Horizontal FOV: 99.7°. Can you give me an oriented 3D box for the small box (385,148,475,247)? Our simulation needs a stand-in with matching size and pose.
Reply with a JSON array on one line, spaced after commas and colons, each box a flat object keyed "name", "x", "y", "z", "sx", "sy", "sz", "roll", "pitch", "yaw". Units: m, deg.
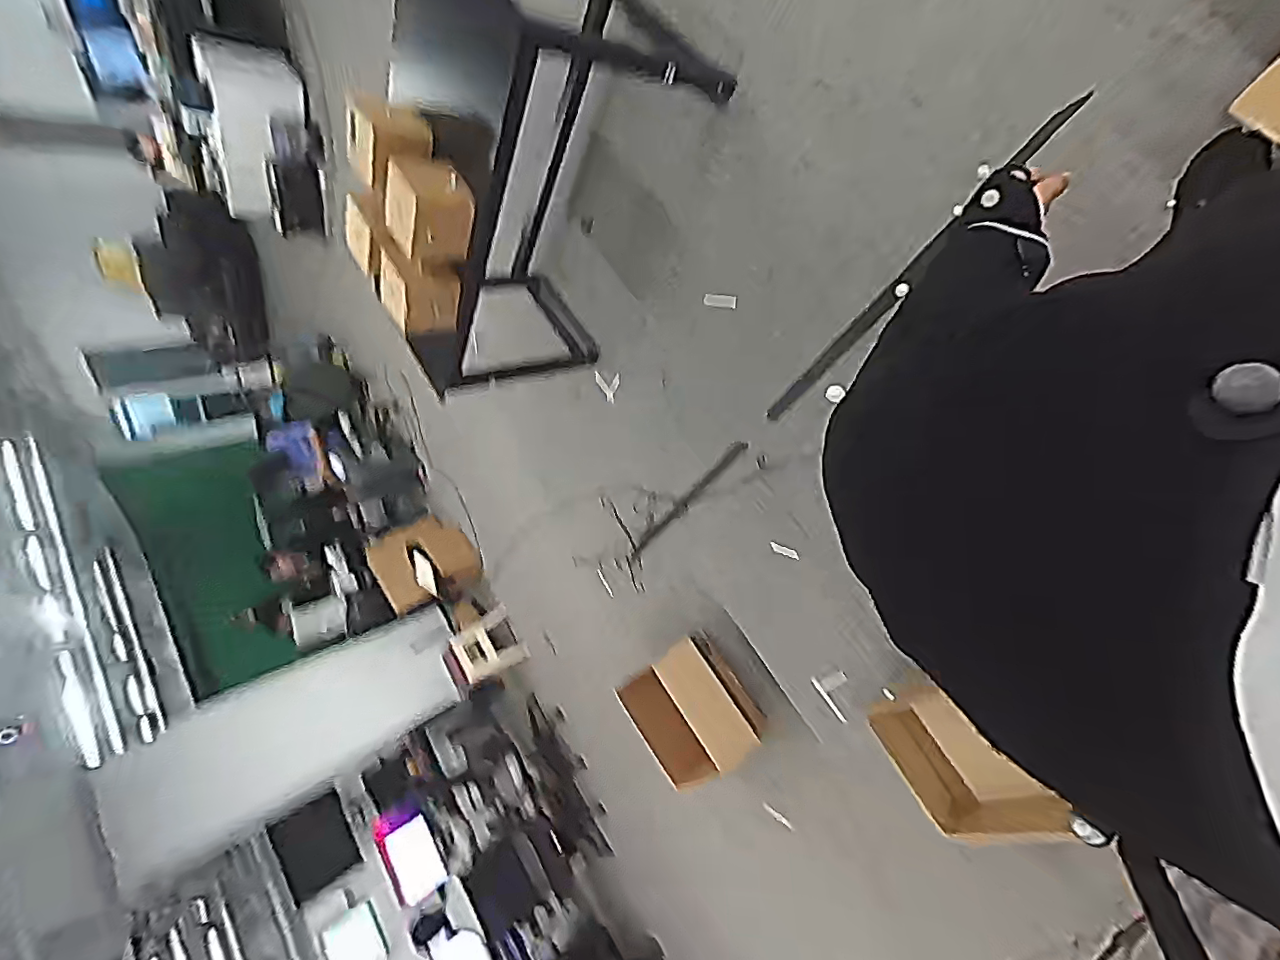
[{"name": "small box", "x": -0.566, "y": -0.754, "z": 1.459, "sx": 0.168, "sy": 0.176, "sz": 0.179, "roll": 55, "pitch": 139, "yaw": 17}]

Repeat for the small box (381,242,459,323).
[{"name": "small box", "x": -0.669, "y": -0.607, "z": 1.644, "sx": 0.179, "sy": 0.176, "sz": 0.168, "roll": 52, "pitch": 138, "yaw": 21}]

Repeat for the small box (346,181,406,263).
[{"name": "small box", "x": -0.817, "y": -0.818, "z": 1.727, "sx": 0.179, "sy": 0.176, "sz": 0.168, "roll": 56, "pitch": 140, "yaw": 15}]
